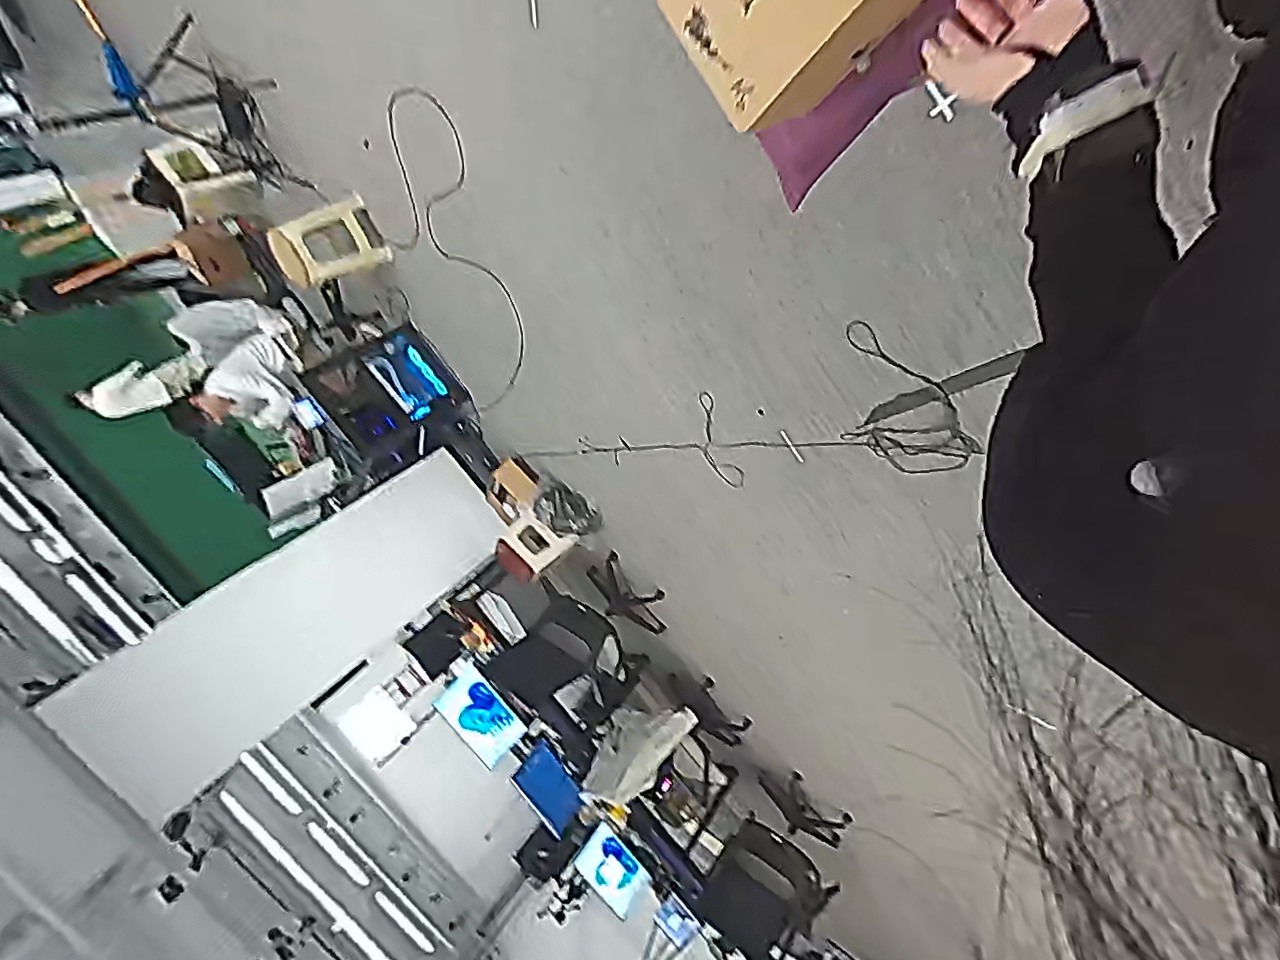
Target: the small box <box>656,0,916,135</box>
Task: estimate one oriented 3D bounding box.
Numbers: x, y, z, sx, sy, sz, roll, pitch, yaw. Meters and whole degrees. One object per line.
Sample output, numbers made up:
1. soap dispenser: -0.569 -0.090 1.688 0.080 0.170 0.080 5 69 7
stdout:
1. small box: 0.154 -0.490 0.531 0.168 0.176 0.179 54 145 -9
